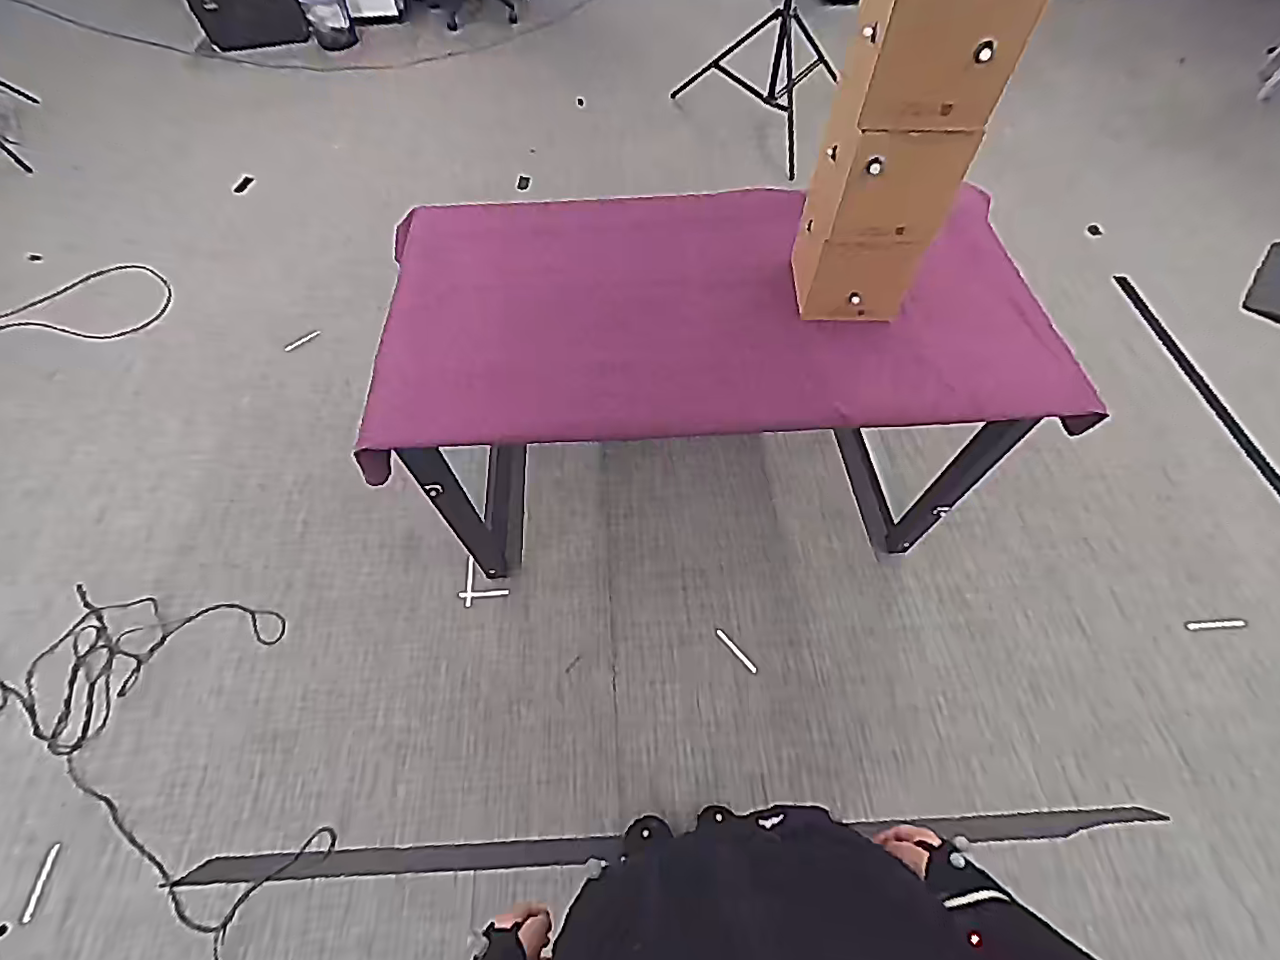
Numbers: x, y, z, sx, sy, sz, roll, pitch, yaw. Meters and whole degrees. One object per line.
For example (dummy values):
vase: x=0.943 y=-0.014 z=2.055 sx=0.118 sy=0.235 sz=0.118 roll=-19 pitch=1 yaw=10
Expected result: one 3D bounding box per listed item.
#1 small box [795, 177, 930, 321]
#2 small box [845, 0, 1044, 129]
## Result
small box: x=0.380 y=-0.408 z=0.960 sx=0.168 sy=0.176 sz=0.179 roll=1 pitch=60 yaw=3
small box: x=0.370 y=-0.567 z=0.675 sx=0.168 sy=0.176 sz=0.179 roll=3 pitch=59 yaw=2
